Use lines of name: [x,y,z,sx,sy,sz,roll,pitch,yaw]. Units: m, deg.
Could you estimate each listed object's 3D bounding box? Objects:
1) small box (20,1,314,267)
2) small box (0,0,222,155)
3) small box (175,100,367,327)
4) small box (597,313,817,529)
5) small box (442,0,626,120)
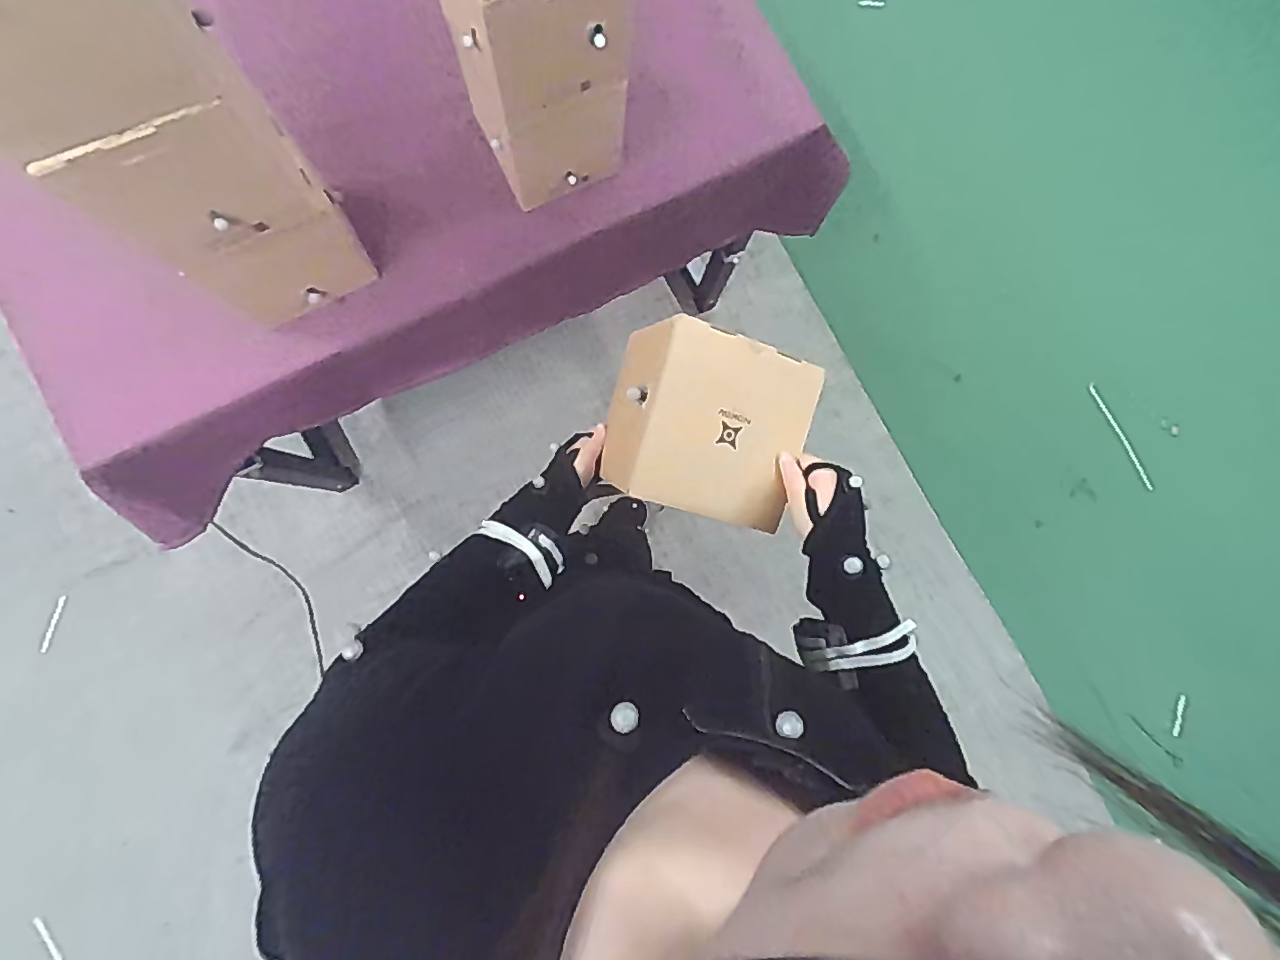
small box: [-0.473,-0.351,0.537,0.168,0.176,0.179,-28,88,-7]
small box: [-0.454,-0.371,0.375,0.179,0.176,0.168,-26,87,-8]
small box: [-0.485,-0.330,0.701,0.179,0.176,0.168,-30,87,-8]
small box: [0.059,-0.061,0.597,0.168,0.176,0.179,14,93,-18]
small box: [-0.120,-0.537,0.588,0.168,0.176,0.179,-28,87,-7]
